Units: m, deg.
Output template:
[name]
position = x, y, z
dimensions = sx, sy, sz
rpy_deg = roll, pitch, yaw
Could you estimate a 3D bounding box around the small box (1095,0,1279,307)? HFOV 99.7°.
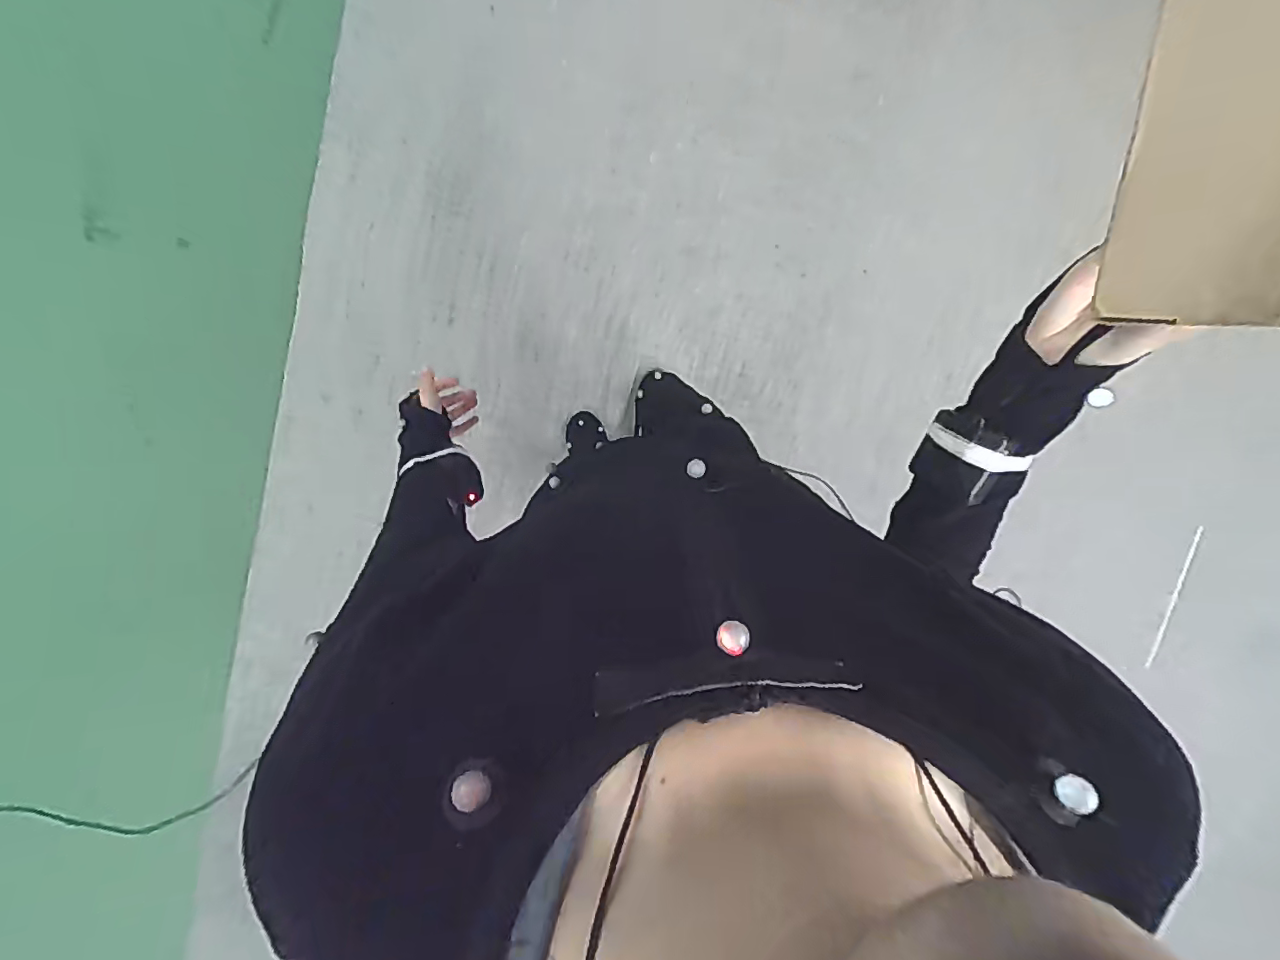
[small box]
position = 0.313, -0.163, 0.200
dimensions = 0.179, 0.168, 0.176
rpy_deg = -23, 119, -31
